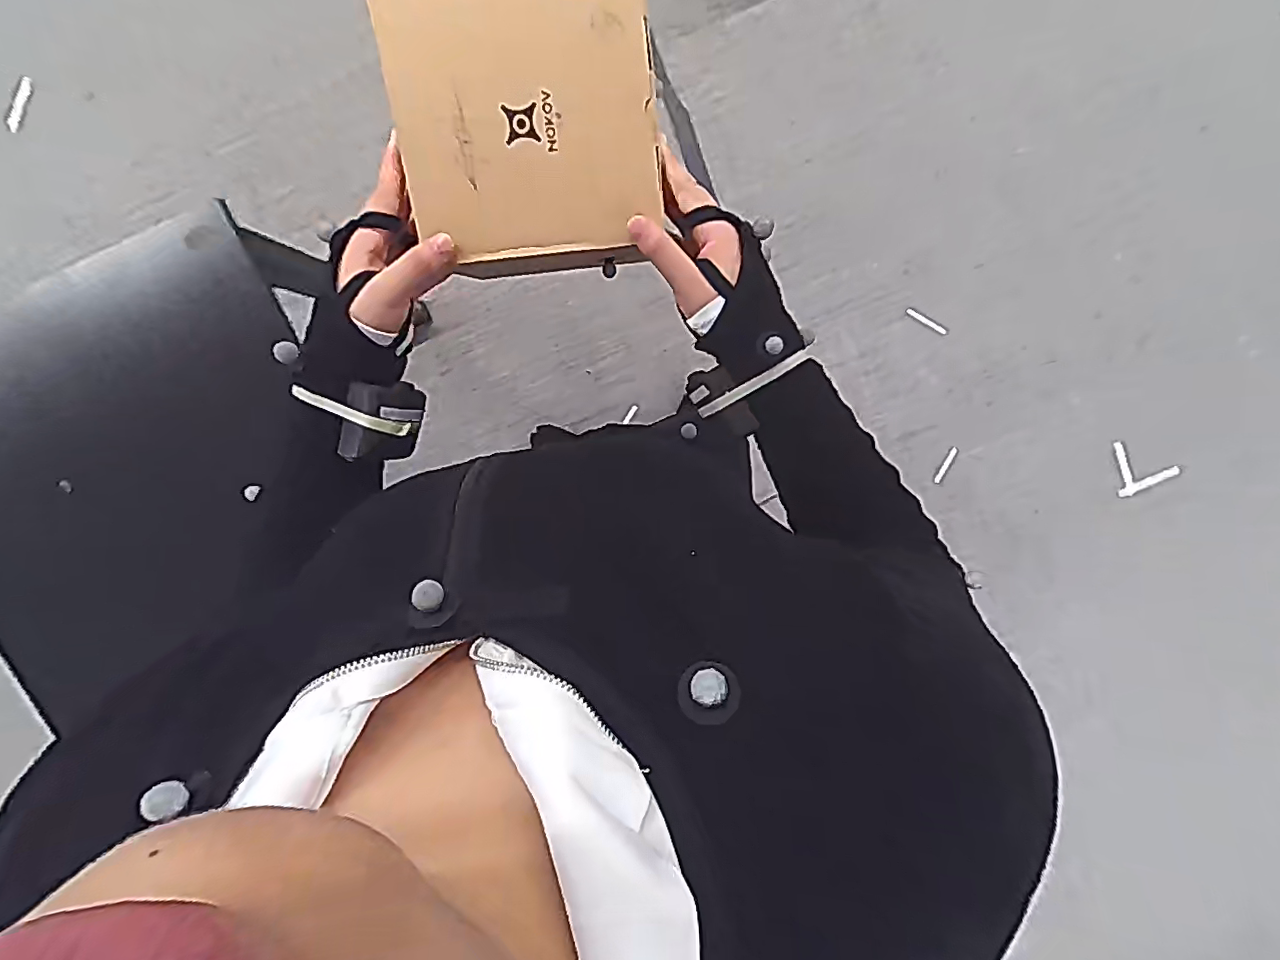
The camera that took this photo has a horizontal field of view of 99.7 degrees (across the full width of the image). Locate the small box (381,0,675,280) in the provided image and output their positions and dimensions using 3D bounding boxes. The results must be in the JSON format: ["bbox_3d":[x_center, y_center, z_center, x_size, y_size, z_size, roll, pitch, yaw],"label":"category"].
[{"bbox_3d":[-0.073,-0.261,0.439,0.179,0.176,0.168,-7,107,0],"label":"small box"}]
